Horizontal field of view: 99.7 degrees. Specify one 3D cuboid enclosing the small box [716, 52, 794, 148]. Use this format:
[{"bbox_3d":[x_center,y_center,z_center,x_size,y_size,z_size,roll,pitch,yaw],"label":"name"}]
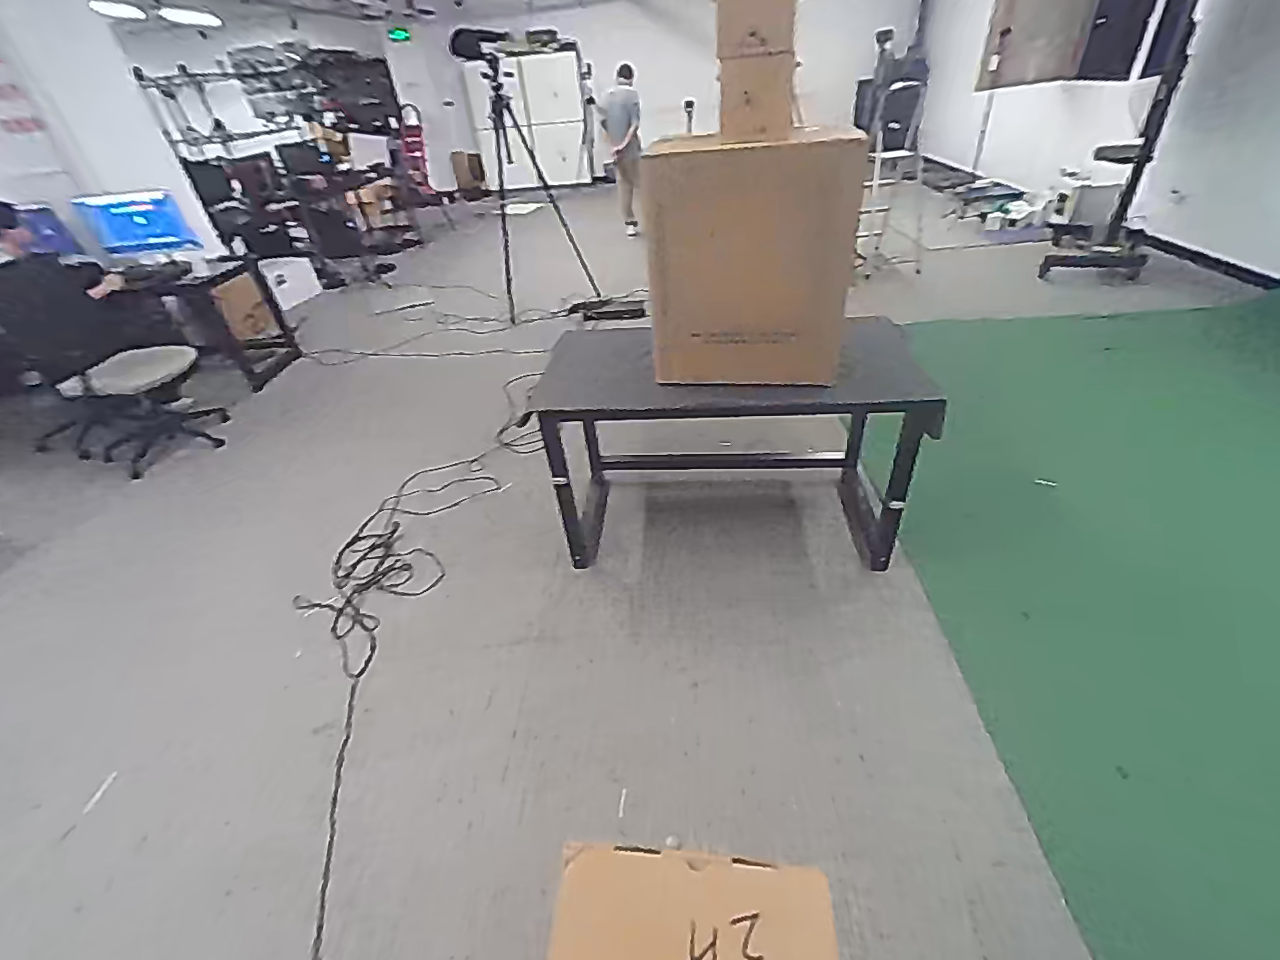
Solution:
[{"bbox_3d":[0.276,-0.902,1.292,0.168,0.176,0.179,4,40,13],"label":"small box"}]
